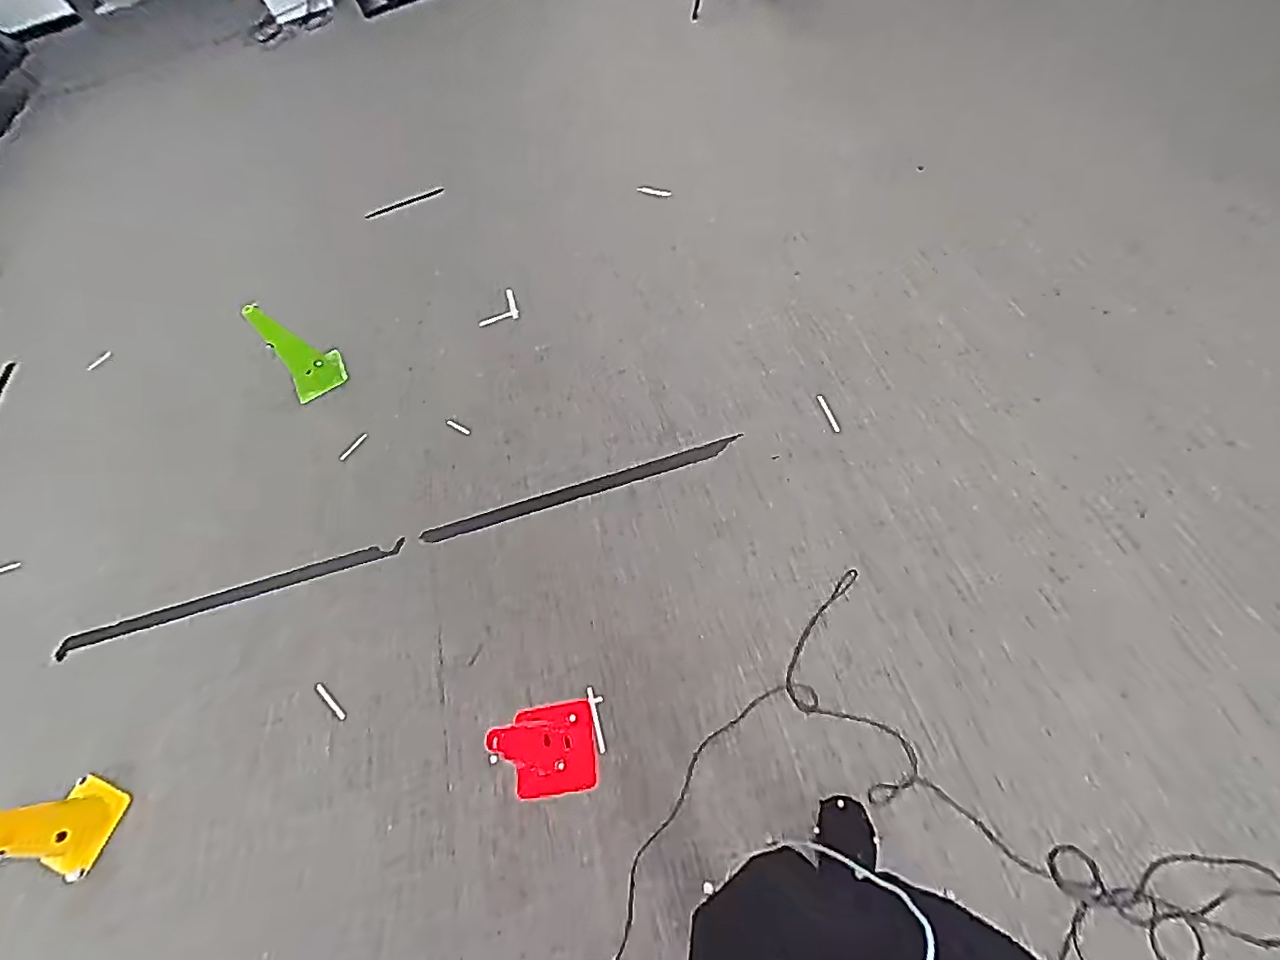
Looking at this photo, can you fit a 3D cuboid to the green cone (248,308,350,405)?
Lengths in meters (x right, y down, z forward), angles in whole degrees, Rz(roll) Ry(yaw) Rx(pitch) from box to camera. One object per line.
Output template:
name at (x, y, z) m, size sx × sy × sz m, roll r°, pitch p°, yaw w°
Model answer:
green cone at (-1.280, -0.479, 1.978) m, size 0.202 × 0.368 × 0.200 m, roll -31°, pitch 60°, yaw -7°

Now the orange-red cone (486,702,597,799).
orange-red cone at (-0.238, 0.568, 1.160) m, size 0.199 × 0.360 × 0.198 m, roll -12°, pitch 59°, yaw 7°
